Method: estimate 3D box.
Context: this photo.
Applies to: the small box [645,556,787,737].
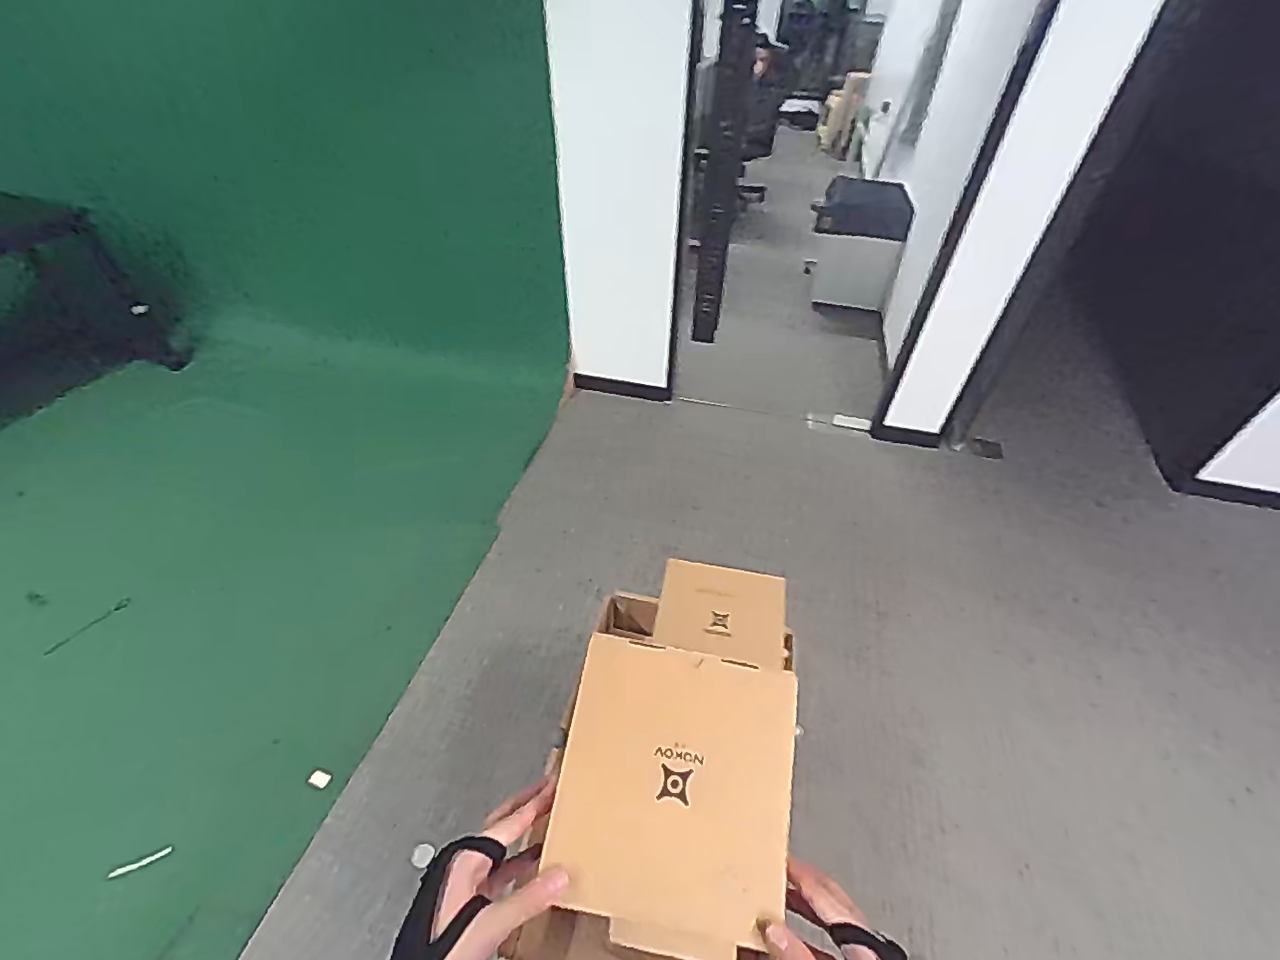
[{"bbox_3d":[0.104,0.236,0.759,0.168,0.176,0.179,10,48,7],"label":"small box"}]
